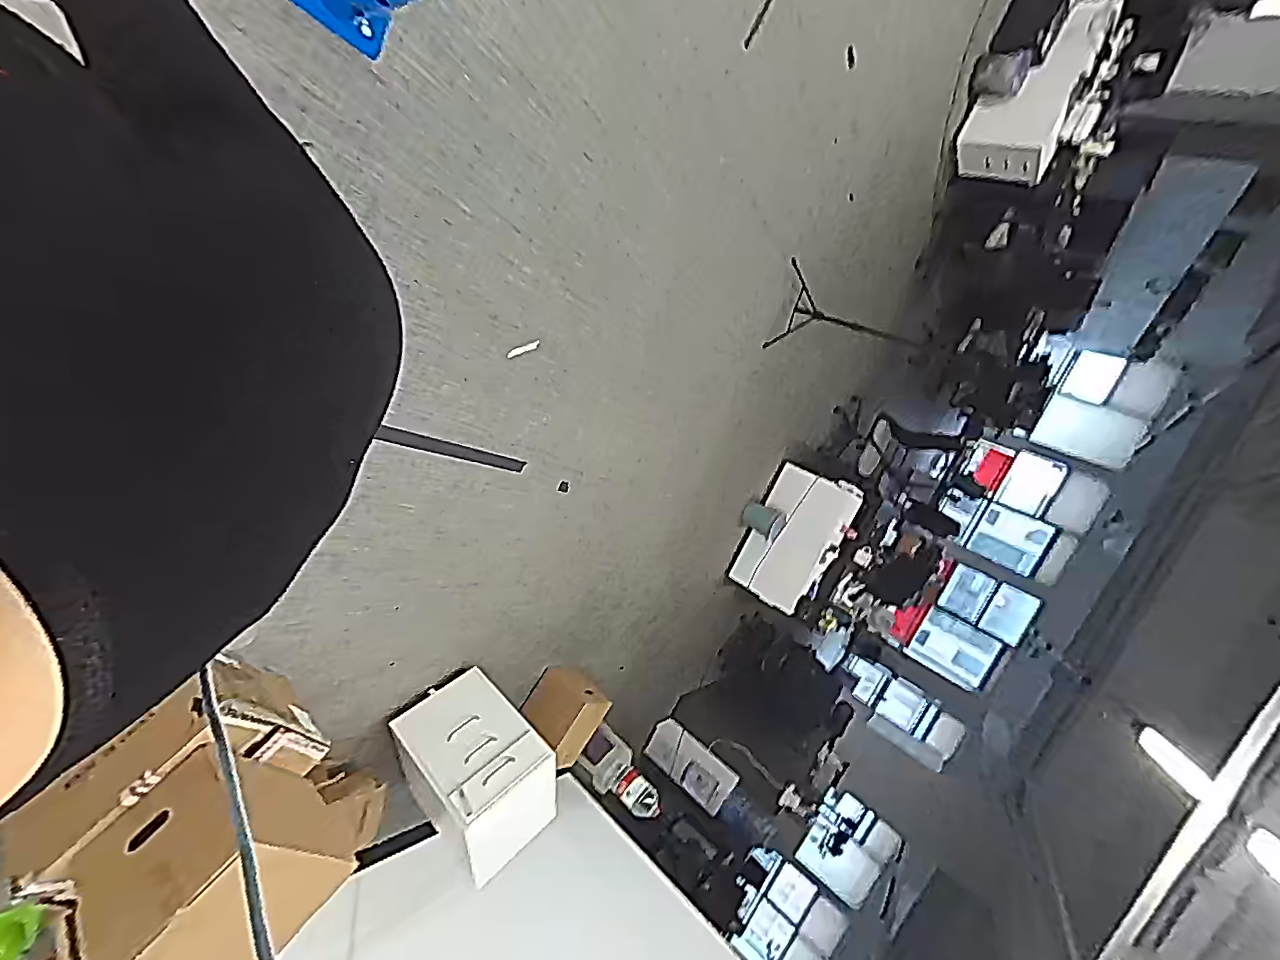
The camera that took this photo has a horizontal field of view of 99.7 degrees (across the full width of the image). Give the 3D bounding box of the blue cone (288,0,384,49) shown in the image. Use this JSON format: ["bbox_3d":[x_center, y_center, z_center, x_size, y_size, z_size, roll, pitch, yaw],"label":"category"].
[{"bbox_3d":[-0.501,-0.958,1.017,0.192,0.380,0.193,8,108,-56],"label":"blue cone"}]
